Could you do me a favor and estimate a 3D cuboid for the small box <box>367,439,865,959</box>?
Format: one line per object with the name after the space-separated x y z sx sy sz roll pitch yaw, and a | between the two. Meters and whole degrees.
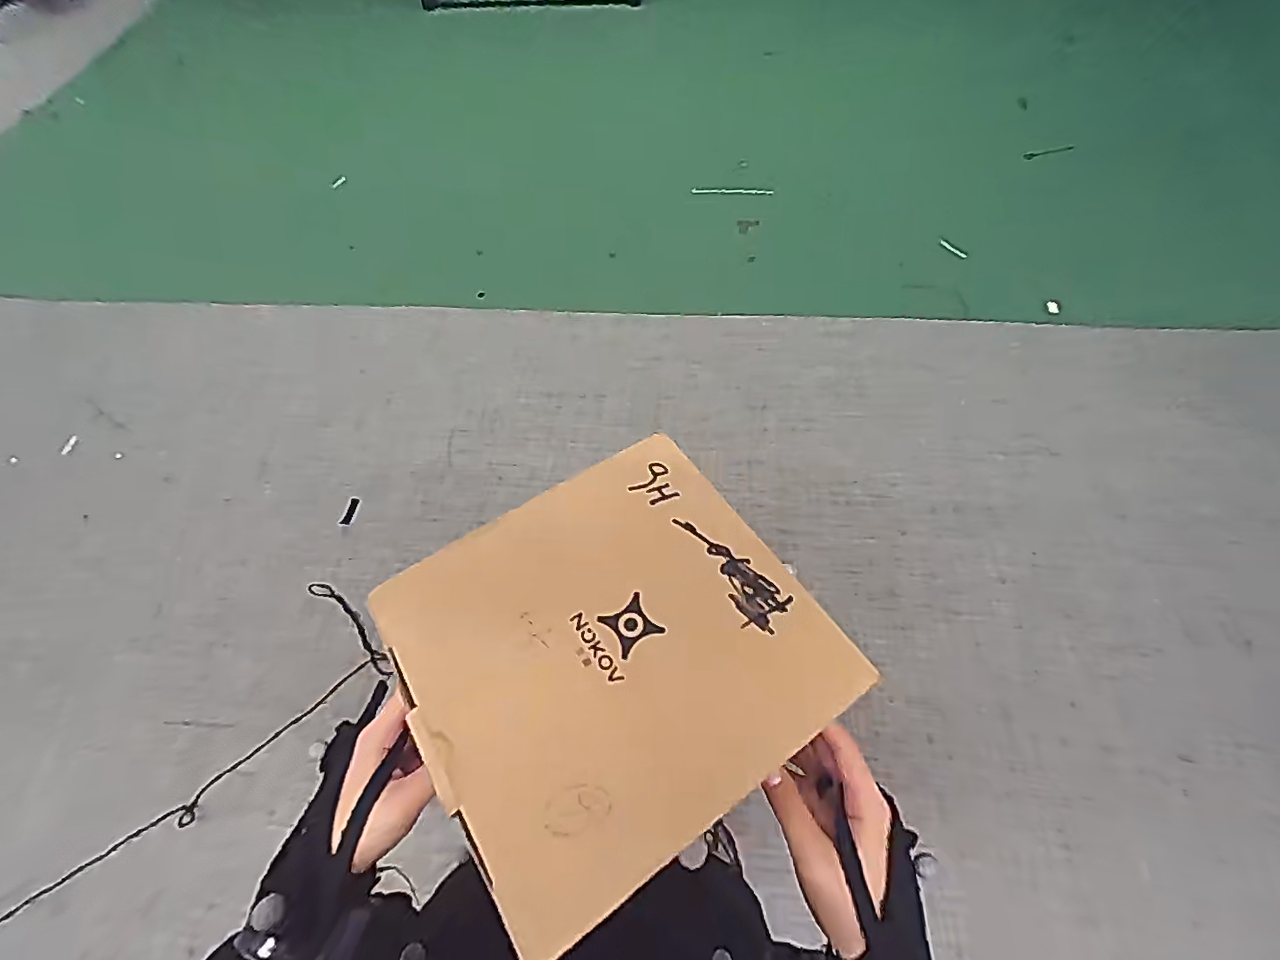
-0.014 0.115 0.312 0.179 0.176 0.168 -30 62 -18 | small box
